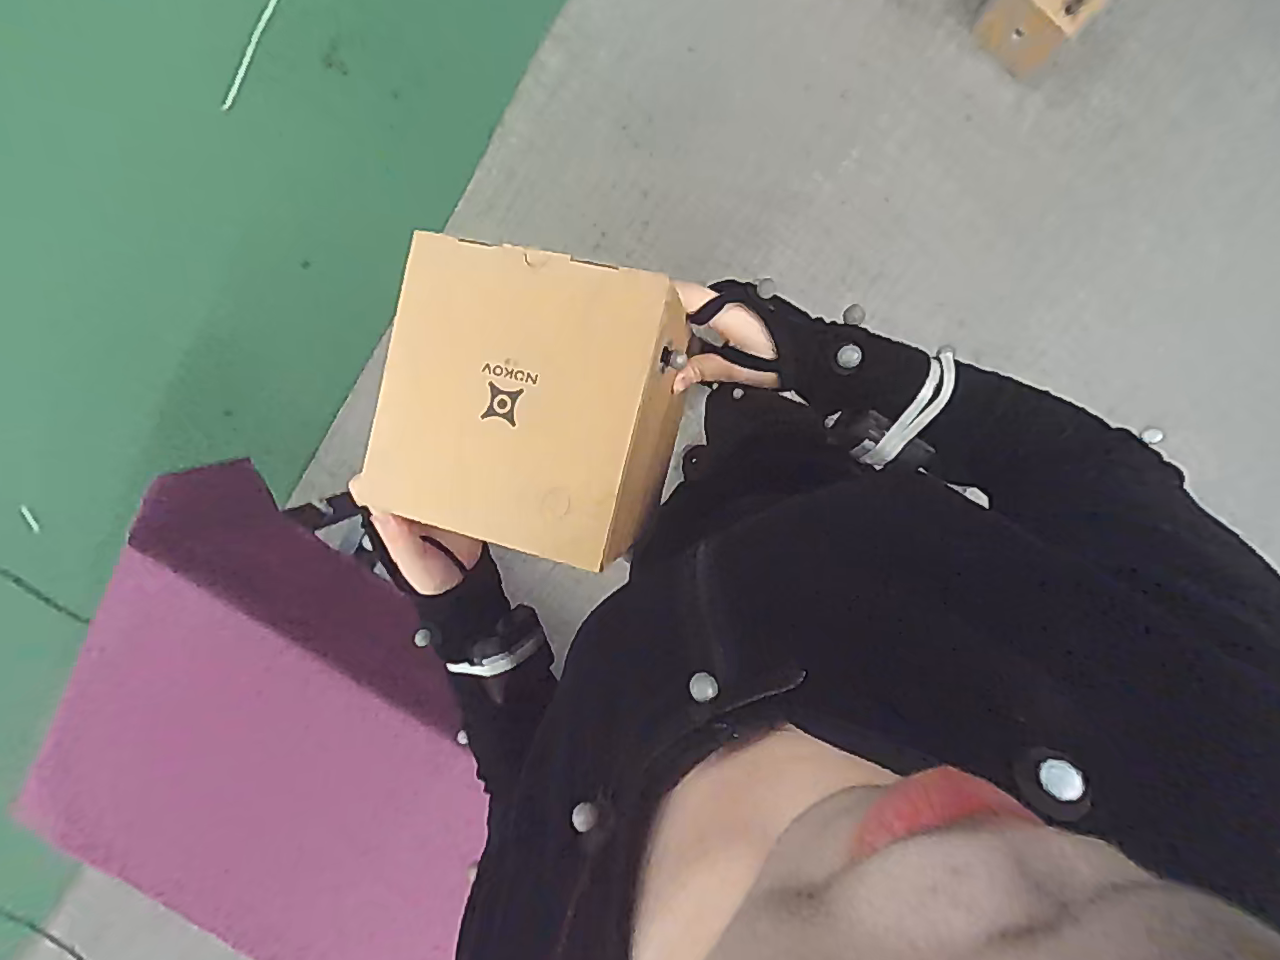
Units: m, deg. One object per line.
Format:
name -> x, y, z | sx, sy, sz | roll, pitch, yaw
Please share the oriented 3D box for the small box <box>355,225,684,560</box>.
small box -> -0.071, -0.057, 0.409 | 0.168, 0.176, 0.179 | 16, 93, 11
